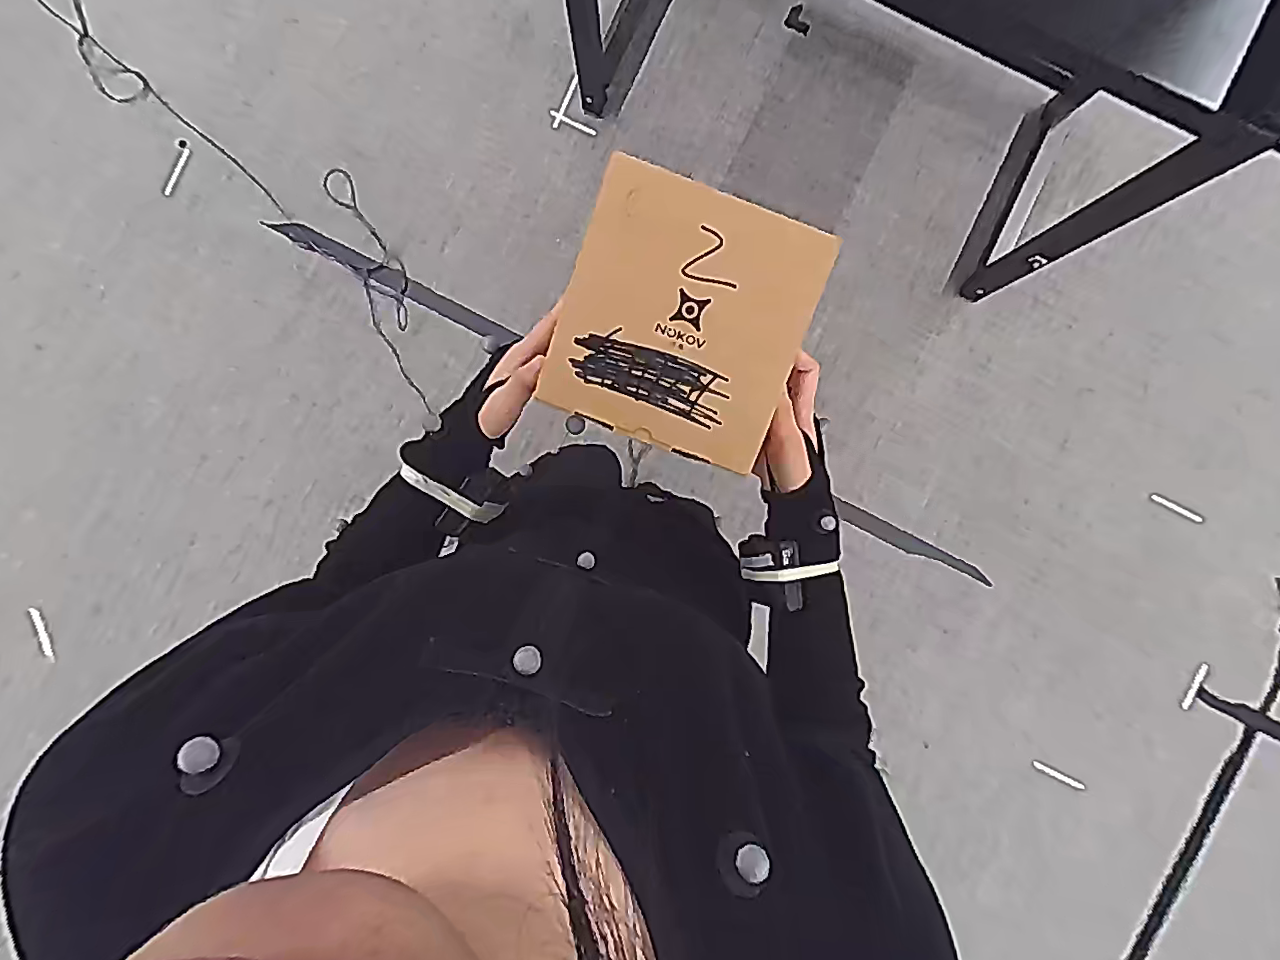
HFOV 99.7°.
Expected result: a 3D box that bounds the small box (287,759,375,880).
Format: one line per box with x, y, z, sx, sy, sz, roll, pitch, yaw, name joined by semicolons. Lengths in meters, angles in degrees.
-0.827;0.875;1.409;0.168;0.176;0.179;25;90;-1;small box
